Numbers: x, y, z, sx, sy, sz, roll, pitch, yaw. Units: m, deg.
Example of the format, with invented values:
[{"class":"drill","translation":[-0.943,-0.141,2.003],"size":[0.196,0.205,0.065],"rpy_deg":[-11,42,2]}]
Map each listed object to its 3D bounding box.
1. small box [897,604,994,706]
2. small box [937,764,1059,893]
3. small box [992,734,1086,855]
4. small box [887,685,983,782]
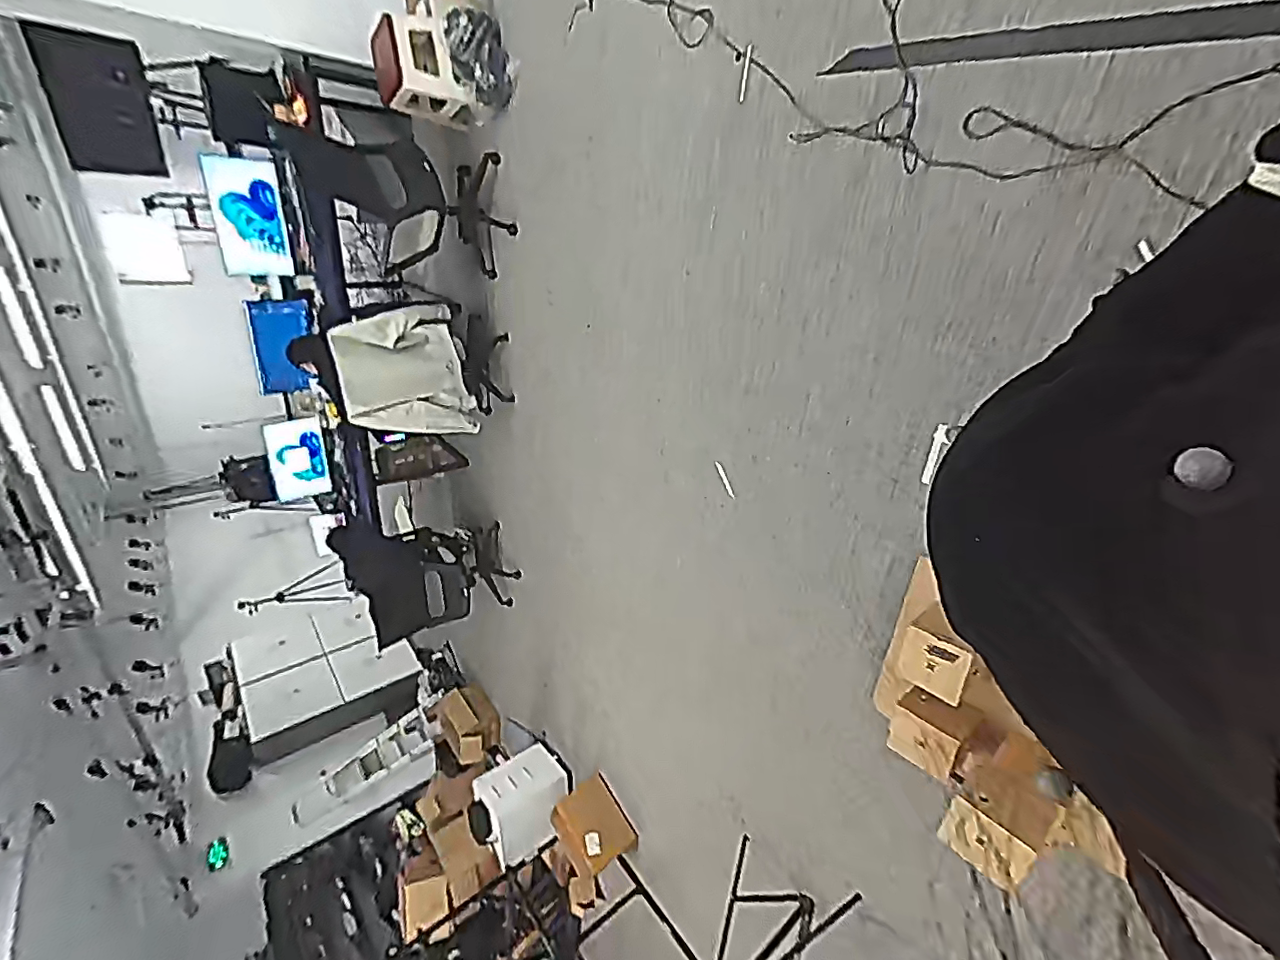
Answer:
[{"class":"small box","translation":[0.839,0.468,1.481],"size":[0.168,0.176,0.179],"rpy_deg":[26,123,44]},{"class":"small box","translation":[0.864,0.827,1.309],"size":[0.179,0.176,0.168],"rpy_deg":[30,126,43]},{"class":"small box","translation":[1.006,0.797,1.392],"size":[0.179,0.176,0.168],"rpy_deg":[24,121,44]},{"class":"small box","translation":[0.851,0.715,1.564],"size":[0.179,0.176,0.168],"rpy_deg":[24,123,44]}]
